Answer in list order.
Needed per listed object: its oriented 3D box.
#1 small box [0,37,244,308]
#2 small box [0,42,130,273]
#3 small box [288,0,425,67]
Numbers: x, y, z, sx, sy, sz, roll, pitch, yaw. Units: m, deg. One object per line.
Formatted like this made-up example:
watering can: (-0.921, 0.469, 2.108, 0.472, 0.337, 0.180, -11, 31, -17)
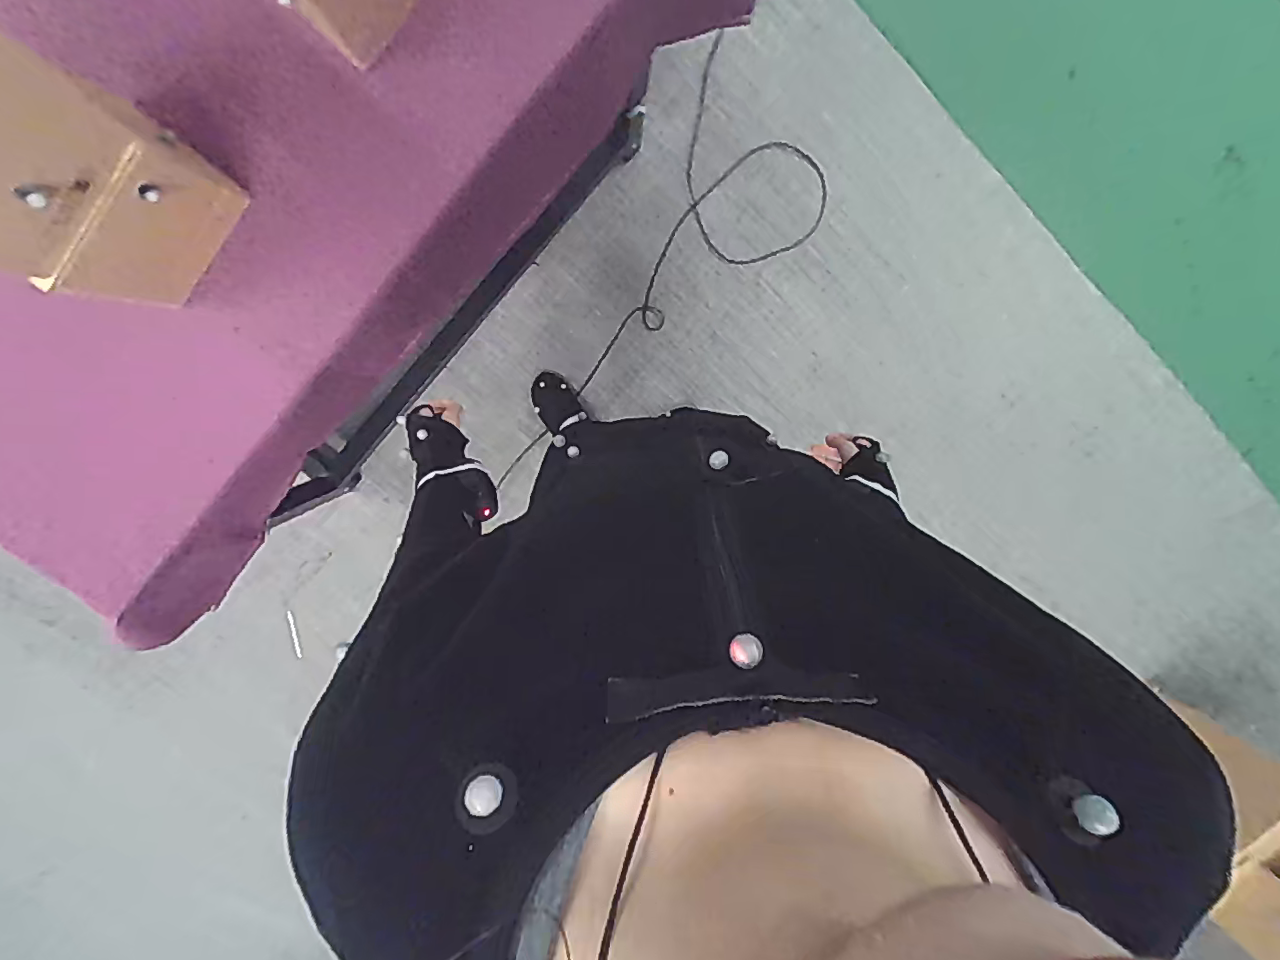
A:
small box: (-0.594, -0.313, 0.595, 0.168, 0.176, 0.179, 37, 96, -9)
small box: (-0.590, -0.292, 0.430, 0.179, 0.176, 0.168, 37, 97, -9)
small box: (-0.327, -0.587, 0.553, 0.168, 0.176, 0.179, 42, 96, -10)
